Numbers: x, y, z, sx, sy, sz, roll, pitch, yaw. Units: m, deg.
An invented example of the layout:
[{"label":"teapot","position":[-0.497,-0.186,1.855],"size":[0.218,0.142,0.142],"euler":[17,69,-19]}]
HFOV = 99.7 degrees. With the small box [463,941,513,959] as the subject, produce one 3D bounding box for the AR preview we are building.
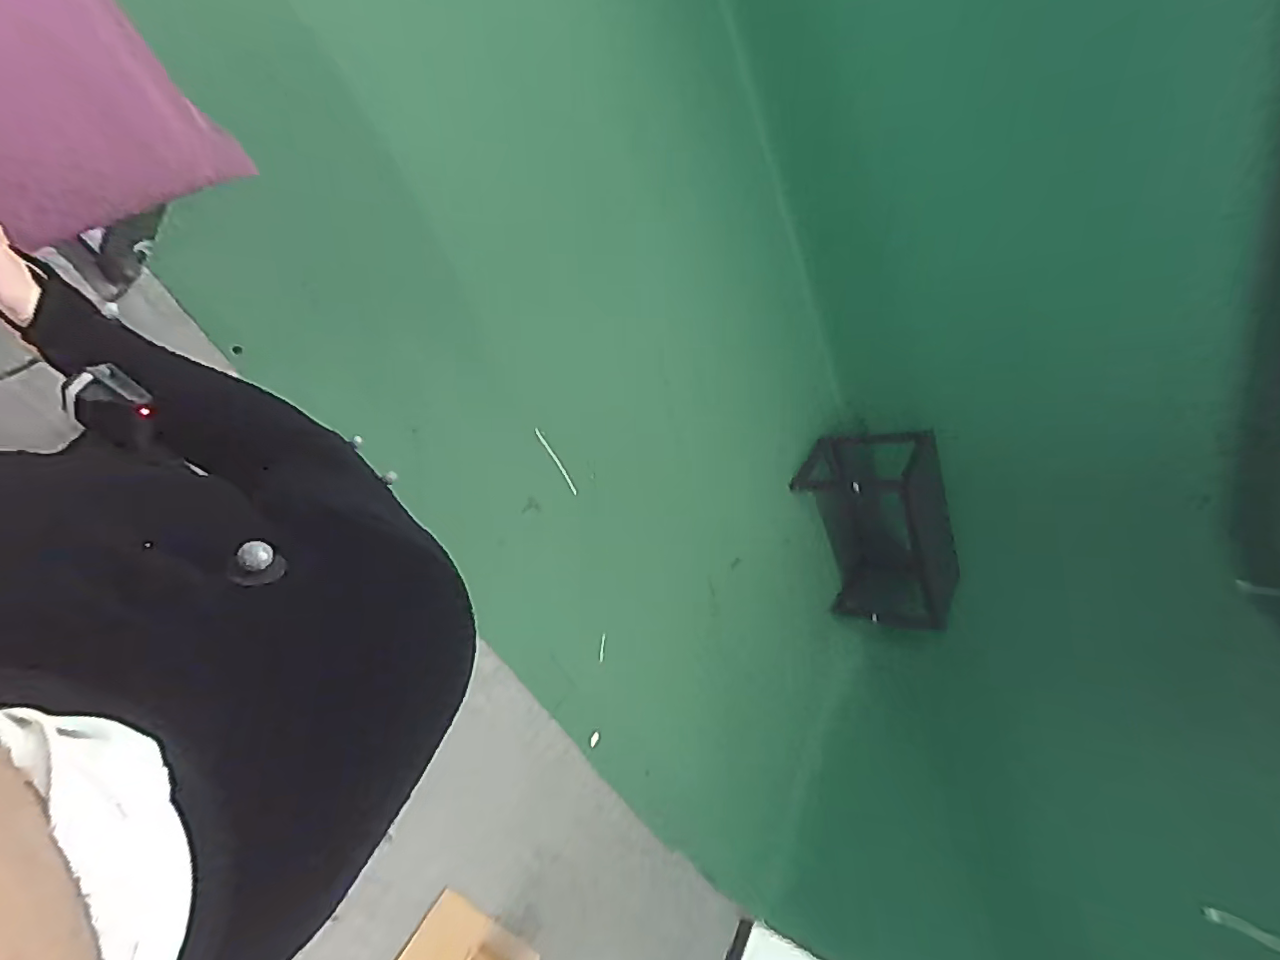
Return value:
[{"label":"small box","position":[-0.509,1.698,1.812],"size":[0.179,0.176,0.168],"euler":[55,54,-33]}]
